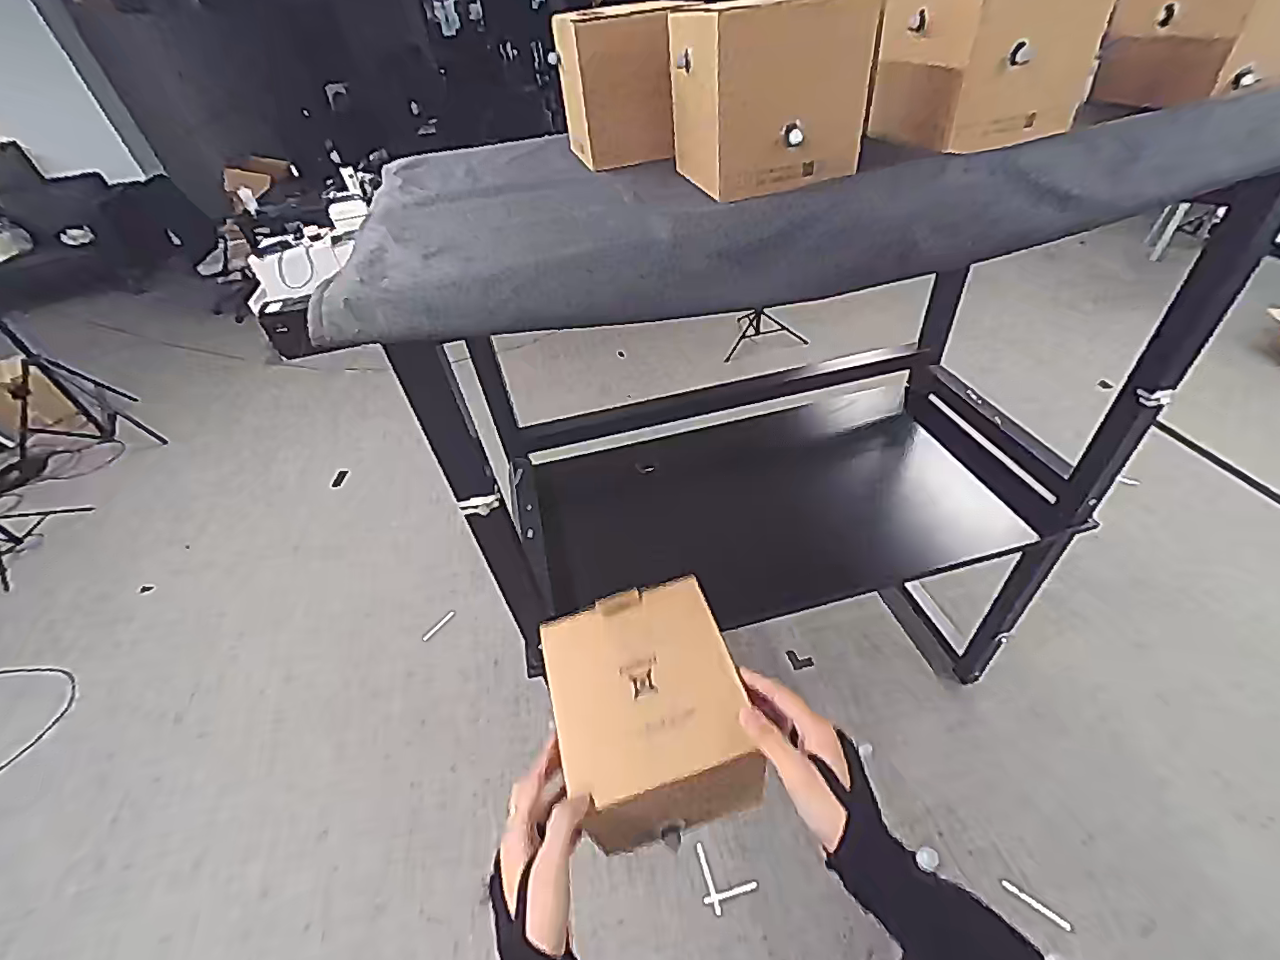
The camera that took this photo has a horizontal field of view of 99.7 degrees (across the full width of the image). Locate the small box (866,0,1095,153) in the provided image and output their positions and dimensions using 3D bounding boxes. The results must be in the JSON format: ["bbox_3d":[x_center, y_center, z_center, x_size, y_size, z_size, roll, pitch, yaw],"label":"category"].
[{"bbox_3d":[0.402,-0.512,0.656,0.168,0.176,0.179,-14,40,-6],"label":"small box"}]

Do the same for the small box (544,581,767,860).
[{"bbox_3d":[0.013,0.238,0.540,0.168,0.176,0.179,-17,43,-6],"label":"small box"}]

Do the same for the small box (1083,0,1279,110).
[{"bbox_3d":[0.713,-0.570,0.666,0.168,0.176,0.179,-12,39,-4],"label":"small box"}]
